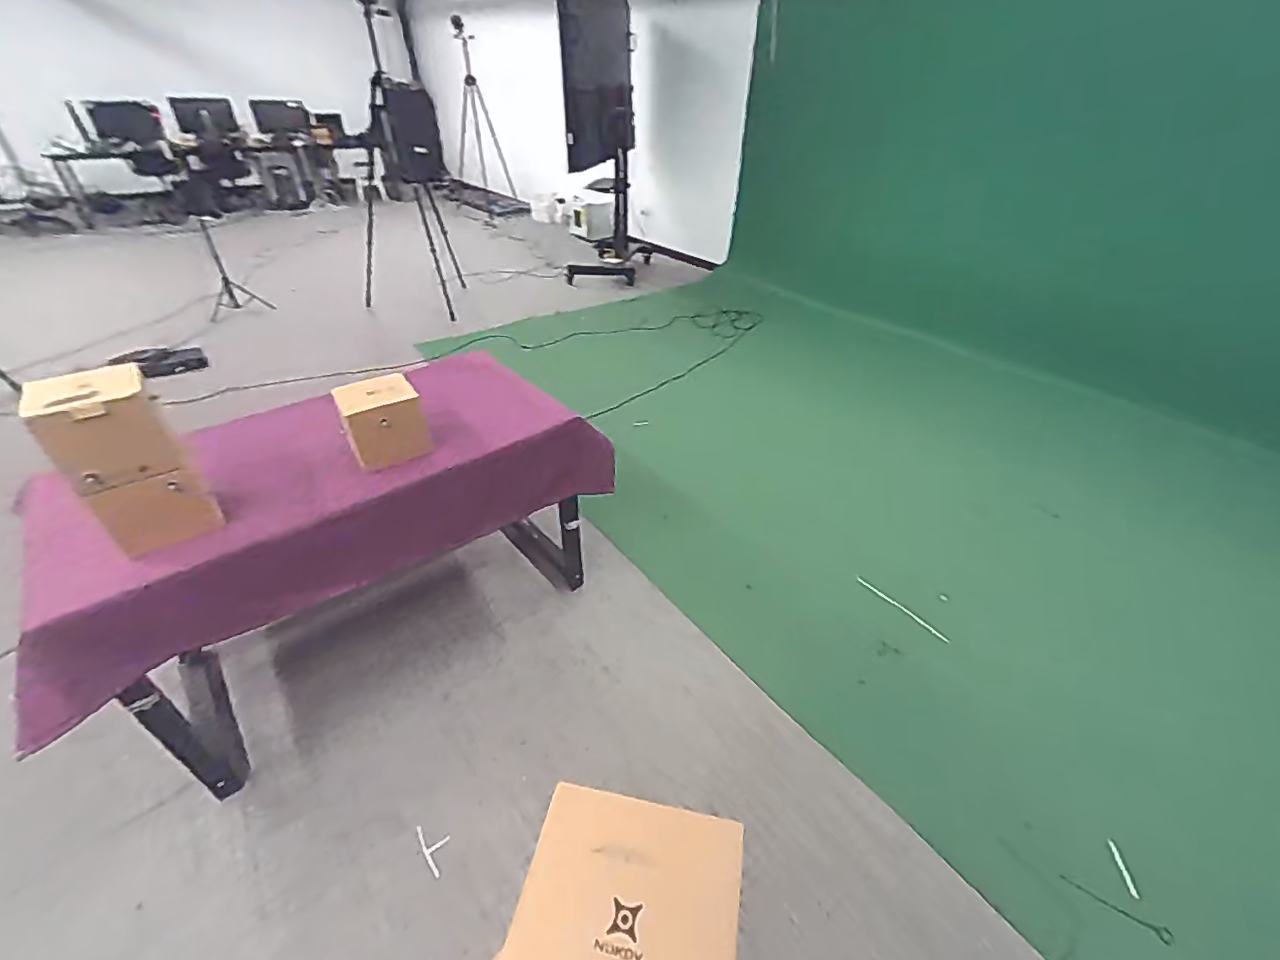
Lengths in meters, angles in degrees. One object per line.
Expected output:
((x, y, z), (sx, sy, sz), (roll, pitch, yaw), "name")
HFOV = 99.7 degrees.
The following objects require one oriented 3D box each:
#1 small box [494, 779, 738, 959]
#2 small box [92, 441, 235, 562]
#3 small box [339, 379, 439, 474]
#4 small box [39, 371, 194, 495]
((-0.012, 0.392, 0.452), (0.168, 0.176, 0.179), (7, 39, 11), "small box")
((-1.014, 0.045, 1.158), (0.179, 0.176, 0.168), (-25, 43, -31), "small box")
((-0.649, -0.138, 1.406), (0.179, 0.176, 0.168), (-22, 42, -27), "small box")
((-1.017, -0.090, 1.063), (0.168, 0.176, 0.179), (-25, 42, -32), "small box")
